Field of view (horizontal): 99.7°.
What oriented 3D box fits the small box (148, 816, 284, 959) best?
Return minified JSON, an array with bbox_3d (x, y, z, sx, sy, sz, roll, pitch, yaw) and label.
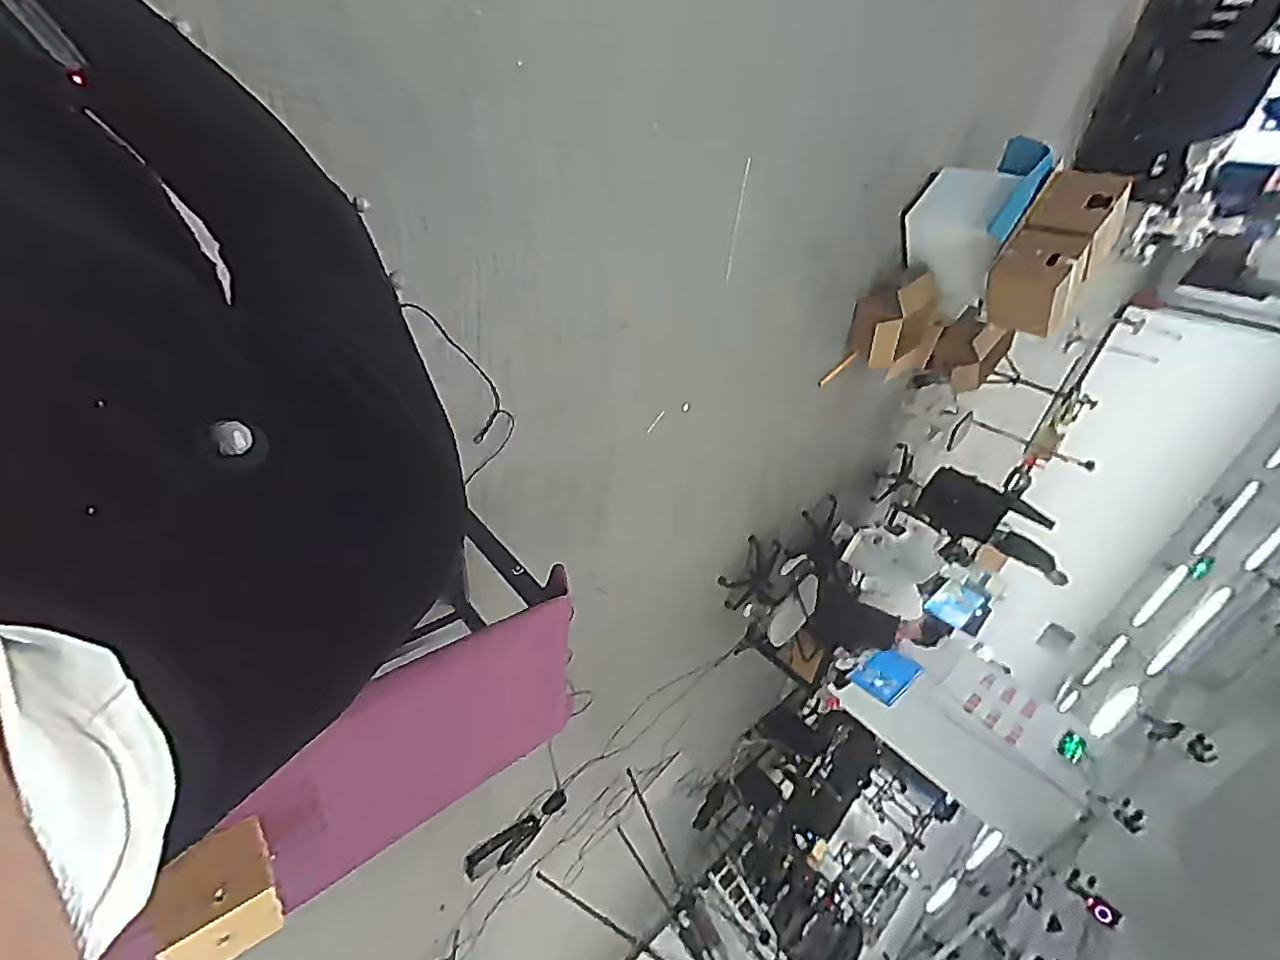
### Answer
[{"bbox_3d":[-0.838,0.824,1.069,0.179,0.176,0.168,-18,130,-42],"label":"small box"}]
